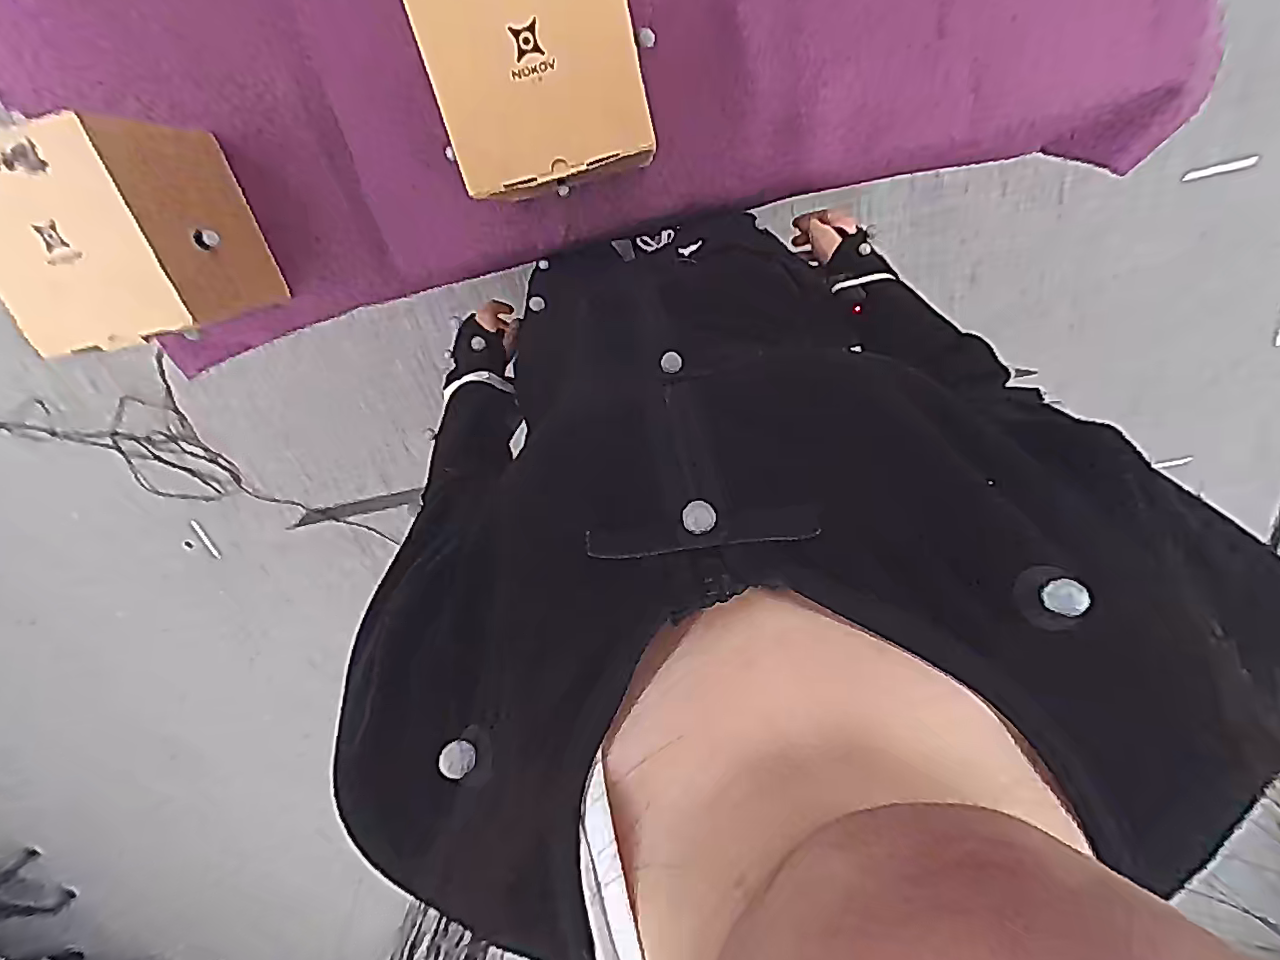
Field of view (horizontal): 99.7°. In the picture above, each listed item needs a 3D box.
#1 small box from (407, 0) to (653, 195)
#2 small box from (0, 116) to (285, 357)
[{"bbox_3d":[-0.089,-0.375,0.494,0.168,0.176,0.179,-13,117,6],"label":"small box"},{"bbox_3d":[-0.514,-0.246,0.552,0.168,0.176,0.179,-11,118,4],"label":"small box"}]
